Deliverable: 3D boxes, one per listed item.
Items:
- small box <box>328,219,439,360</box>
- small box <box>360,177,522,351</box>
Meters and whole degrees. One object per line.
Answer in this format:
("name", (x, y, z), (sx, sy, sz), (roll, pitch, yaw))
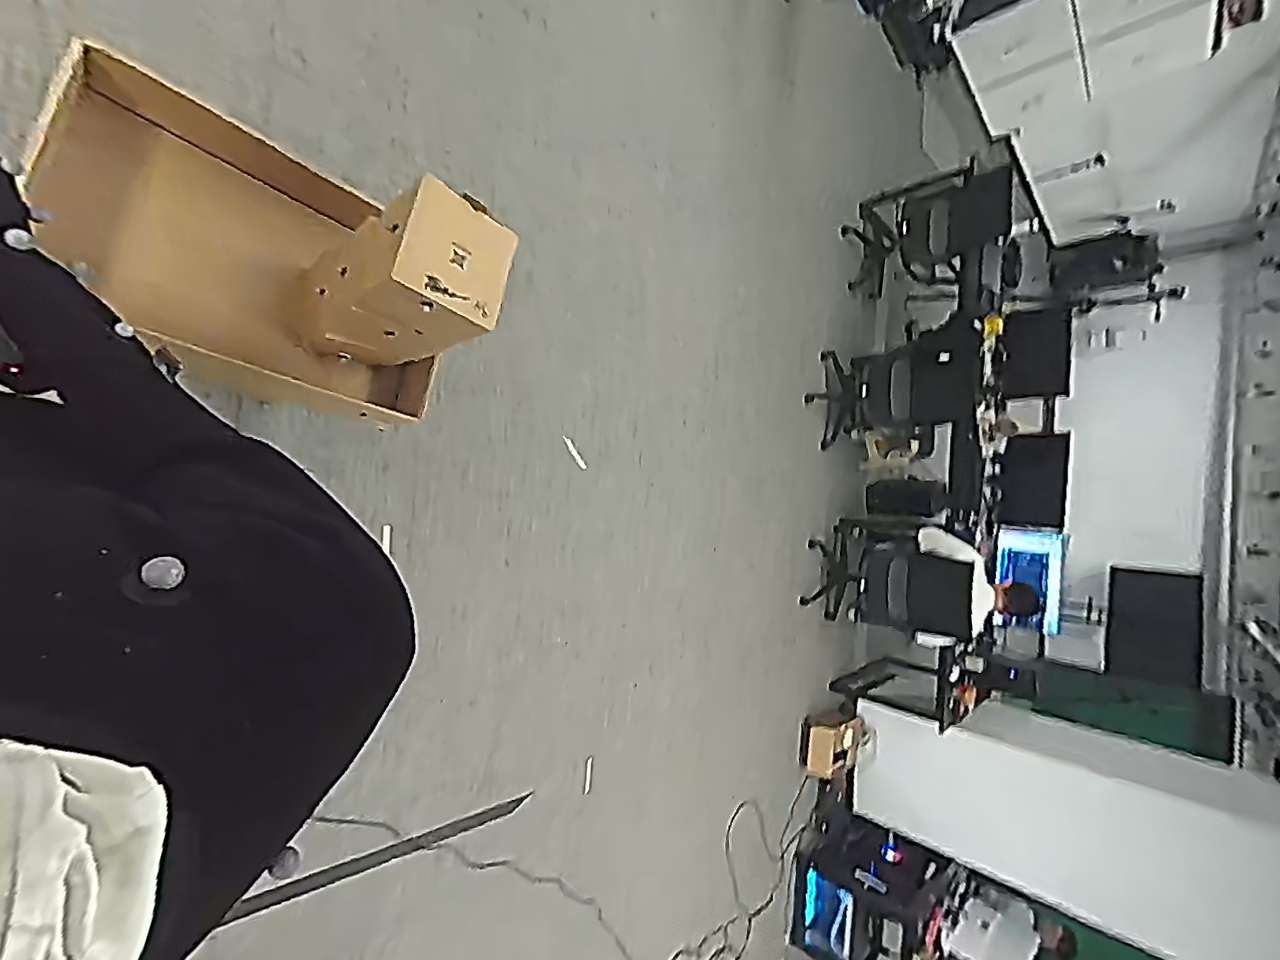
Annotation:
("small box", (-0.437, -0.327, 0.976), (0.179, 0.176, 0.168), (15, 80, -44))
("small box", (-0.319, -0.328, 0.862), (0.168, 0.176, 0.179), (23, 74, -42))
